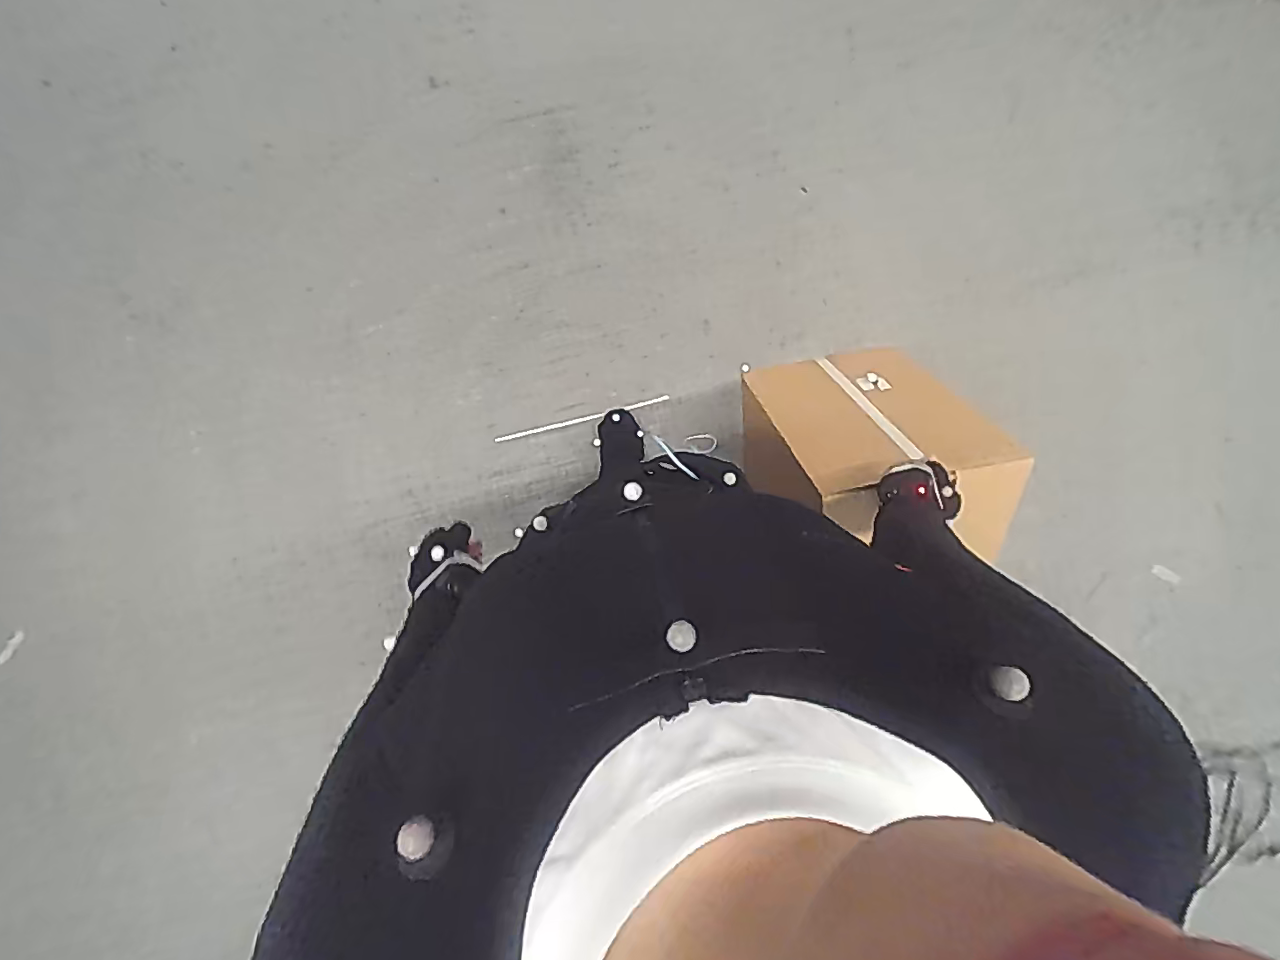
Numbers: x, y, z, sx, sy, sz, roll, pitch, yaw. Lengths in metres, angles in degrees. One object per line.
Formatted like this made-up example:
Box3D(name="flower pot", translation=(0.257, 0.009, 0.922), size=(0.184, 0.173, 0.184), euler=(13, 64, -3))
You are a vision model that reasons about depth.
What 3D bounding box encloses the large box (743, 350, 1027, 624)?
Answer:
Box3D(name="large box", translation=(0.401, -0.004, 1.013), size=(0.320, 0.408, 0.320), euler=(-9, 126, -2))
